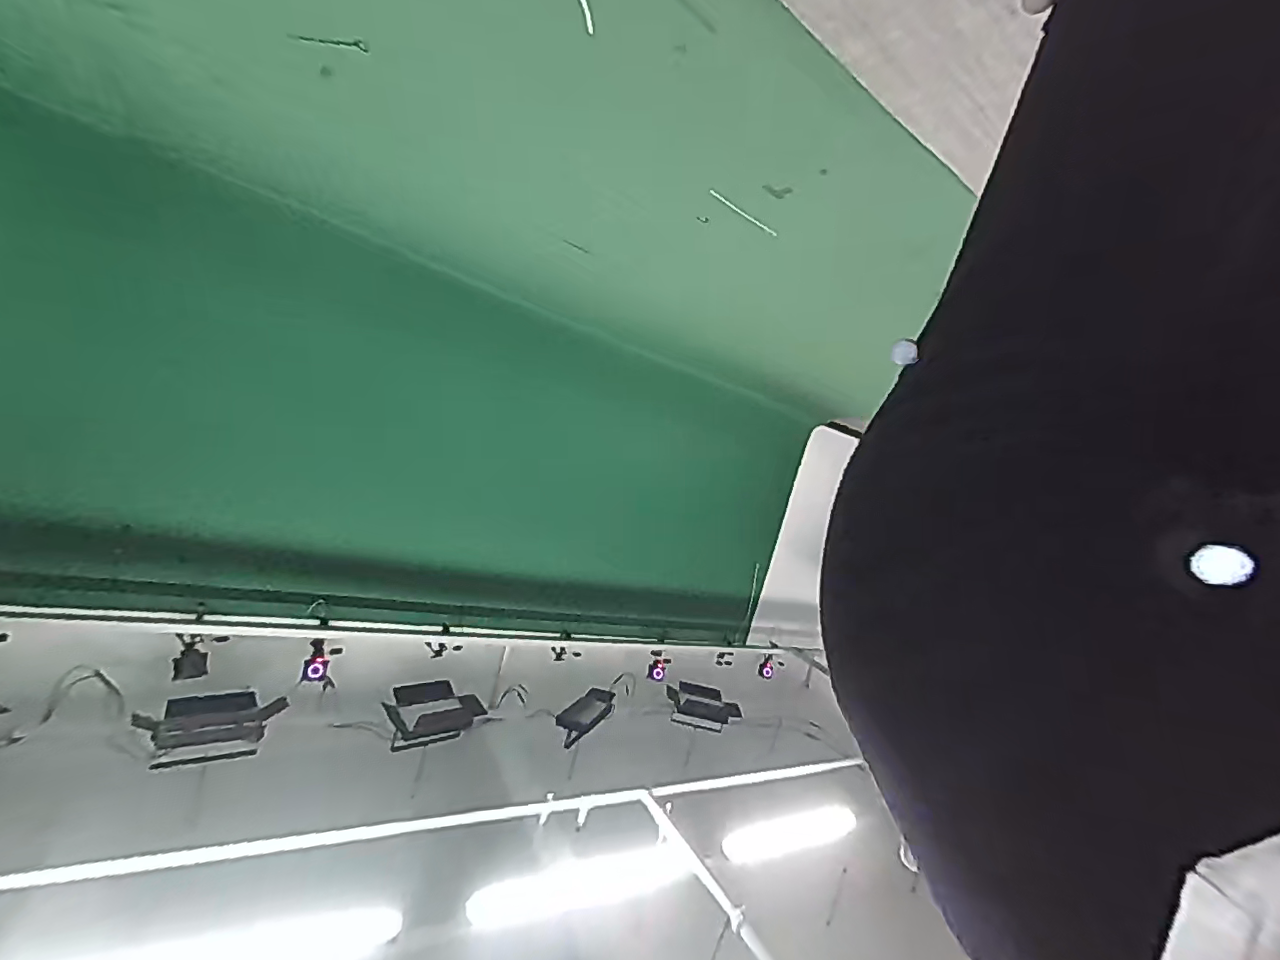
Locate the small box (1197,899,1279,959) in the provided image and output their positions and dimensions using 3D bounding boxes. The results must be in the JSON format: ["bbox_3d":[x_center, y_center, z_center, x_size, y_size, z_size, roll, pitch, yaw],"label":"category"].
[{"bbox_3d":[1.702,1.288,1.500,0.179,0.176,0.168,13,-177,-35],"label":"small box"}]
